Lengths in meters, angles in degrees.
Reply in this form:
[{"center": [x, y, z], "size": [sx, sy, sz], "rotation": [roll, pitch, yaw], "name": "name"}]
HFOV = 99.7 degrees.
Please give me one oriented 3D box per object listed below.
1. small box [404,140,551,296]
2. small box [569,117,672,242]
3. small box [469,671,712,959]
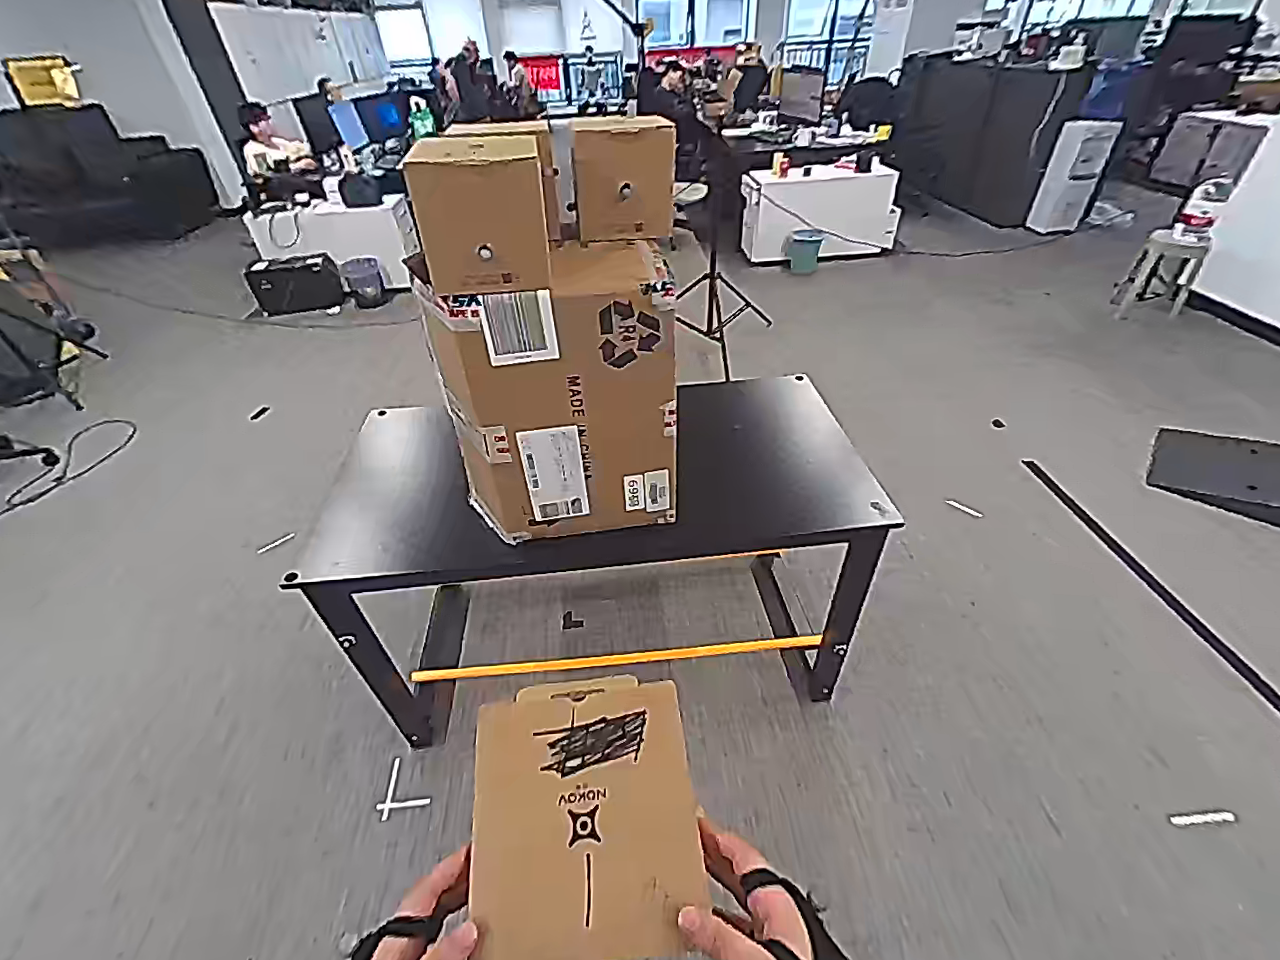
[{"center": [-0.222, -0.381, 0.784], "size": [0.168, 0.176, 0.179], "rotation": [-6, 41, -7], "name": "small box"}, {"center": [-0.036, -0.534, 0.965], "size": [0.168, 0.176, 0.179], "rotation": [-5, 40, -6], "name": "small box"}, {"center": [-0.042, 0.290, 0.472], "size": [0.168, 0.176, 0.179], "rotation": [-6, 52, -4], "name": "small box"}]
